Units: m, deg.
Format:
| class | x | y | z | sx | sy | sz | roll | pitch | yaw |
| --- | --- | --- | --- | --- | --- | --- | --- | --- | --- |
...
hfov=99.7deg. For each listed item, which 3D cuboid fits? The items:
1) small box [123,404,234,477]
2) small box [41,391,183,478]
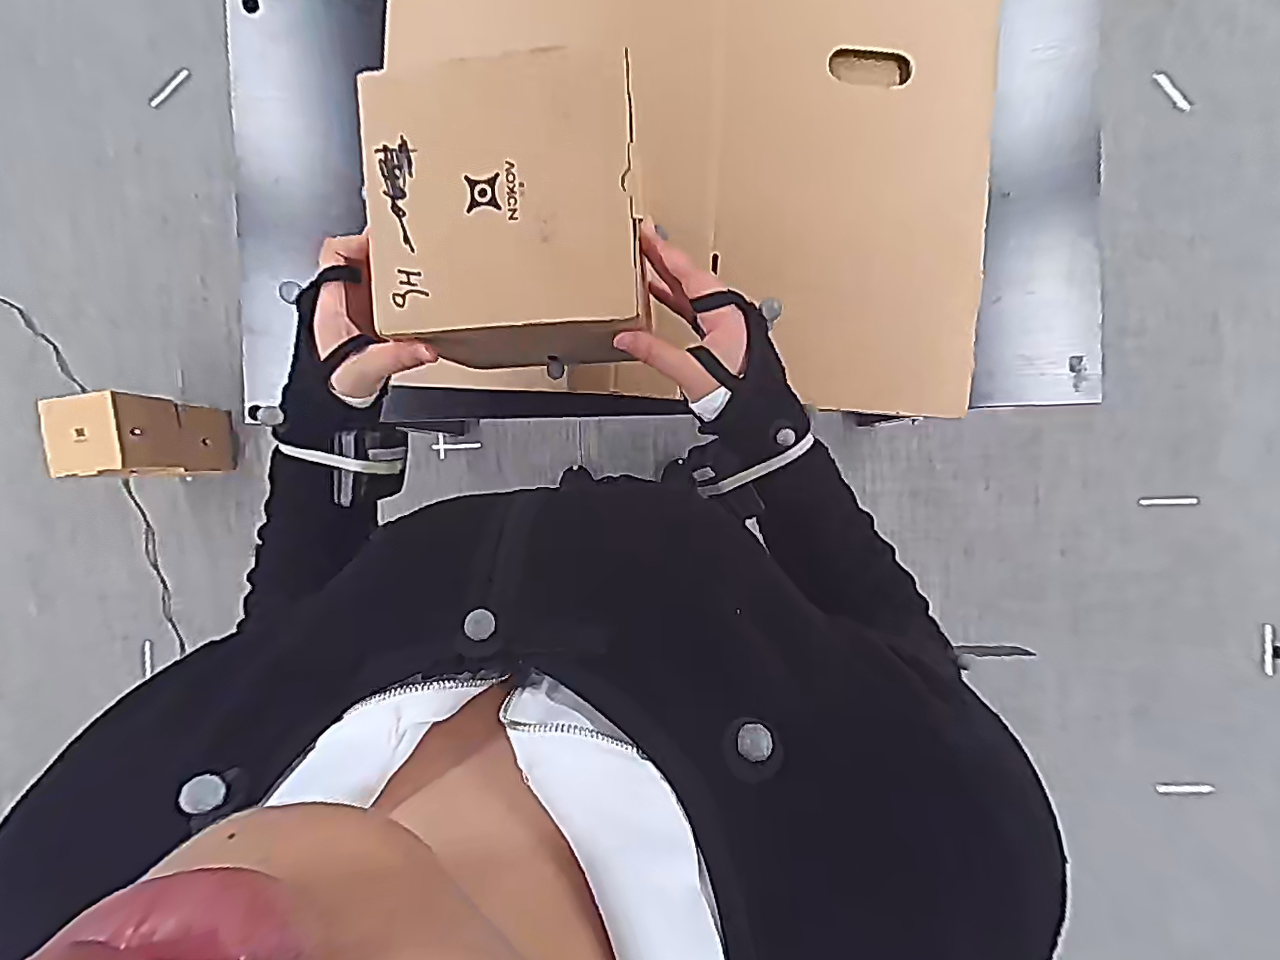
| class | x | y | z | sx | sy | sz | roll | pitch | yaw |
| --- | --- | --- | --- | --- | --- | --- | --- | --- | --- |
| small box | -1.224 | -0.100 | 1.434 | 0.168 | 0.176 | 0.179 | -5 | 92 | 1 |
| small box | -1.227 | -0.102 | 1.271 | 0.168 | 0.176 | 0.179 | -8 | 91 | 0 |
